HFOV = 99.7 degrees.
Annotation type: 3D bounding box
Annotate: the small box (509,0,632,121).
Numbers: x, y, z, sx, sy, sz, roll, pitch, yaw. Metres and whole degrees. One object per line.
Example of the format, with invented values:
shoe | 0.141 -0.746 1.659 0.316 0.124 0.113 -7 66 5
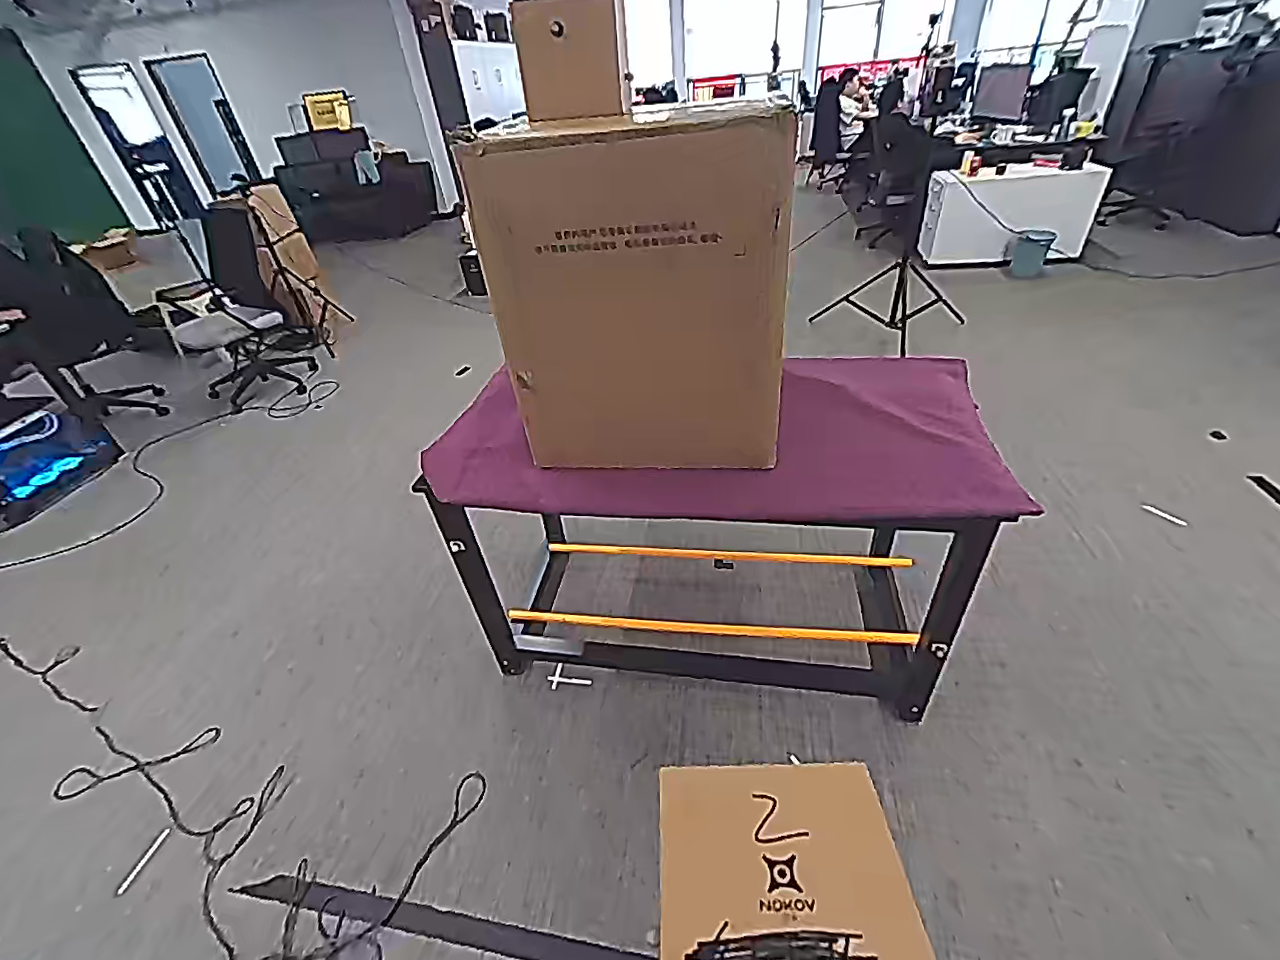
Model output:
small box | -0.114 -0.757 0.974 0.179 0.176 0.168 0 38 7
